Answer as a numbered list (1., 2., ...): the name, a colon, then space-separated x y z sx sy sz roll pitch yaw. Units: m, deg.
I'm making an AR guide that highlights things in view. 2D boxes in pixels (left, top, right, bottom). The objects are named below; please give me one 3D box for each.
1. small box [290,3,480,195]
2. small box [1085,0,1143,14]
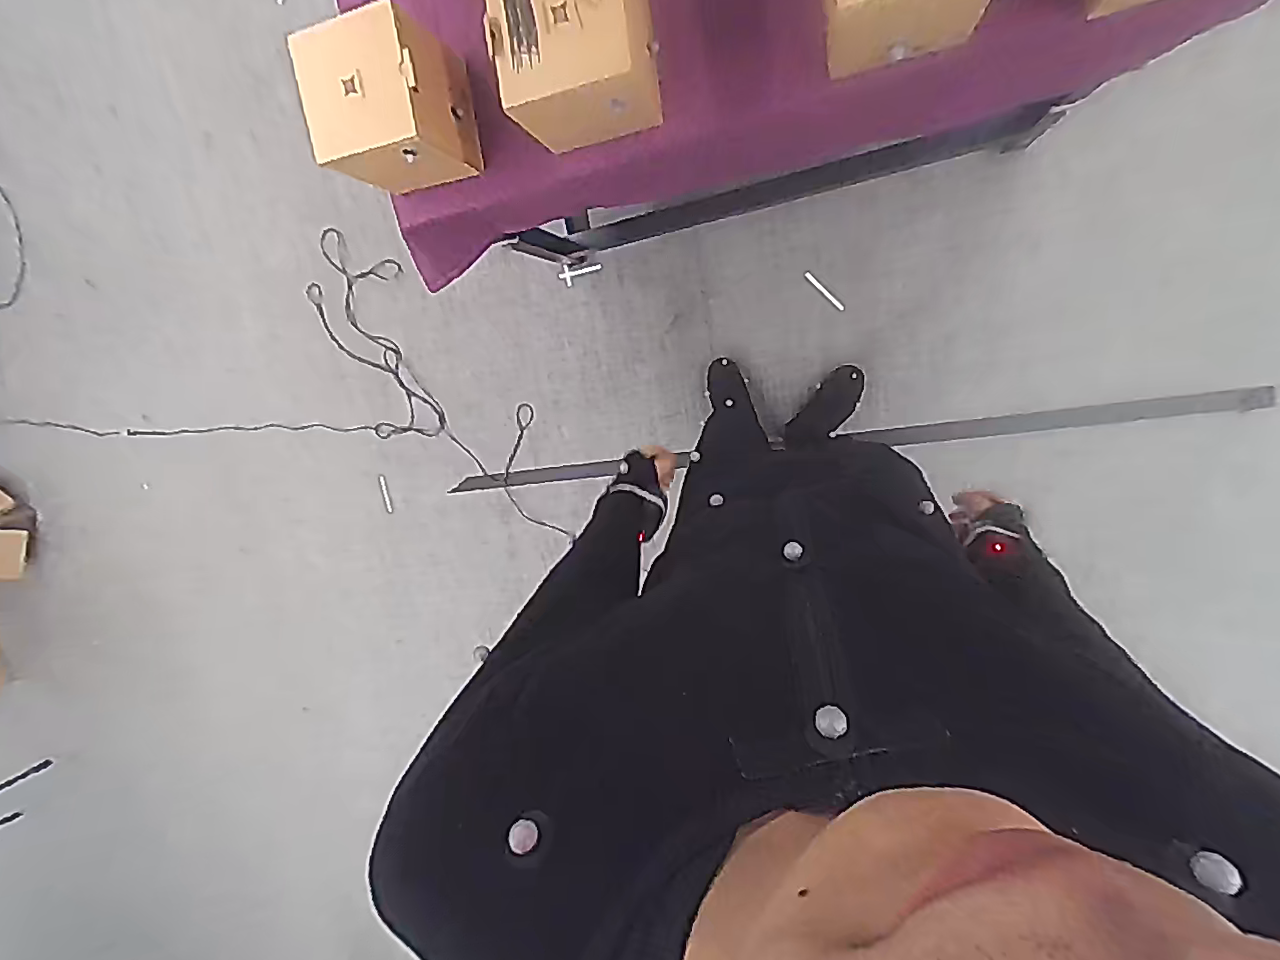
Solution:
1. small box: -0.370 -0.548 0.810 0.179 0.176 0.168 -5 102 16
2. small box: 0.558 -0.616 0.521 0.168 0.176 0.179 -6 102 19
